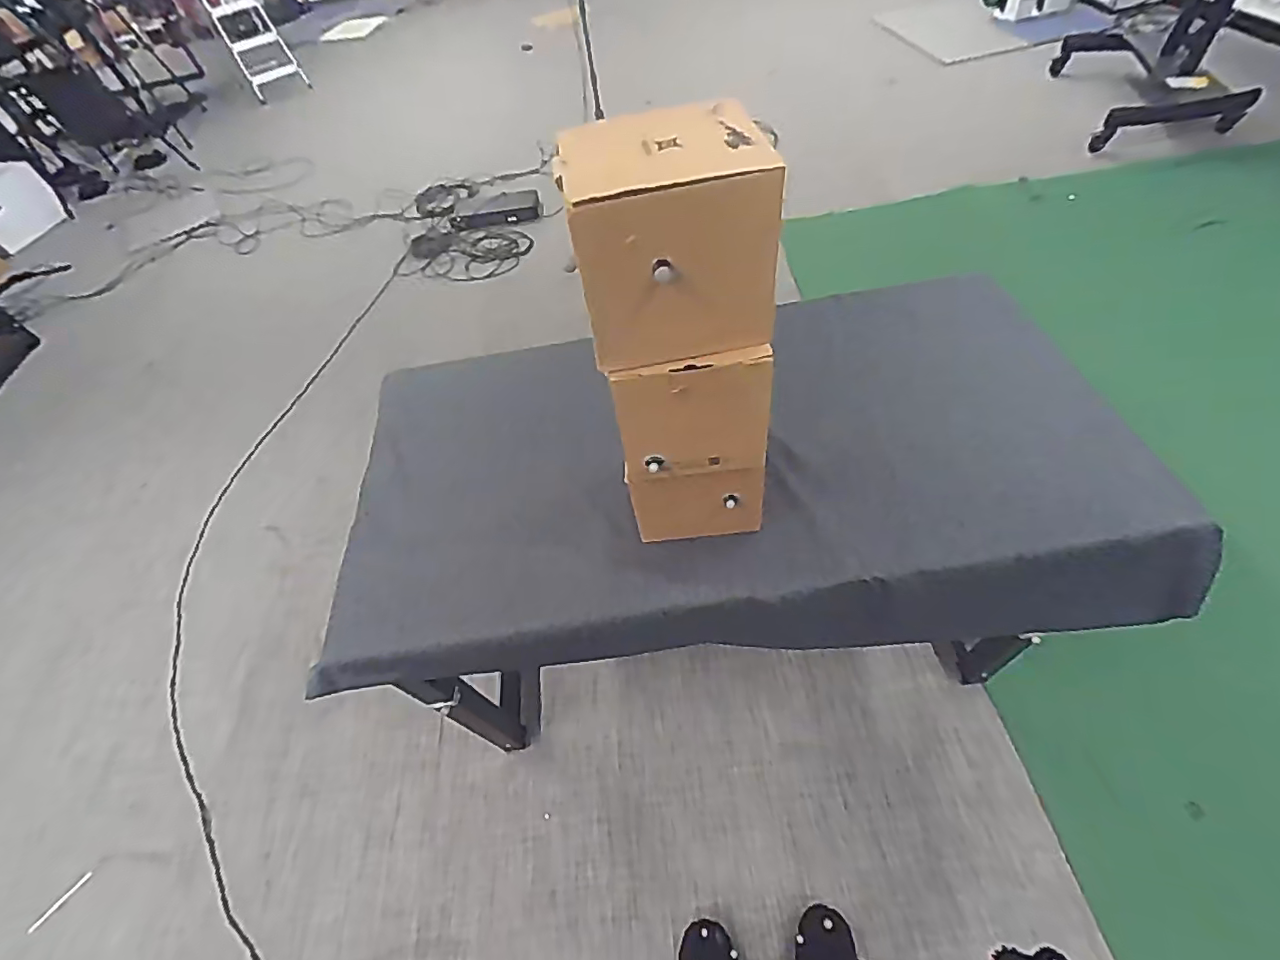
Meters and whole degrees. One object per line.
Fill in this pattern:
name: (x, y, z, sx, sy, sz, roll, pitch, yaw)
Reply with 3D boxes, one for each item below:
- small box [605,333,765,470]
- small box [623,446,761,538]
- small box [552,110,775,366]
small box: (0.050, -0.127, 0.656, 0.168, 0.176, 0.179, -9, 53, 2)
small box: (0.072, -0.032, 0.788, 0.179, 0.176, 0.168, -7, 51, 5)
small box: (0.021, -0.235, 0.540, 0.179, 0.176, 0.168, -12, 49, -2)
